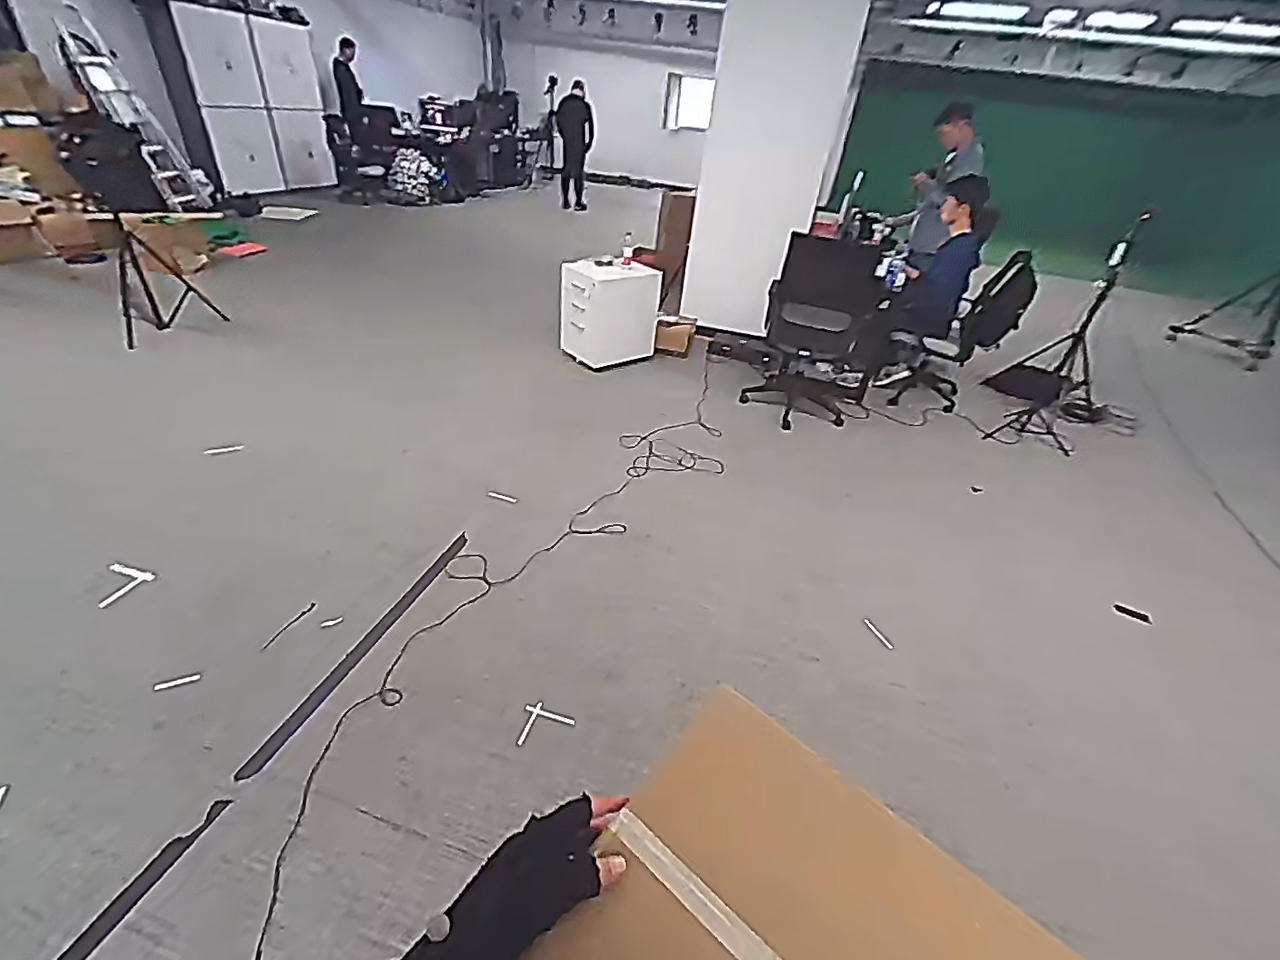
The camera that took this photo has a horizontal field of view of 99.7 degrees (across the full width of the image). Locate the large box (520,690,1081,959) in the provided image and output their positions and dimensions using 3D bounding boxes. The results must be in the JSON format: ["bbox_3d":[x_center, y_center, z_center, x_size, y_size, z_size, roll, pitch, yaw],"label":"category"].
[{"bbox_3d":[0.134,0.494,0.518,0.408,0.320,0.320,32,57,24],"label":"large box"}]
